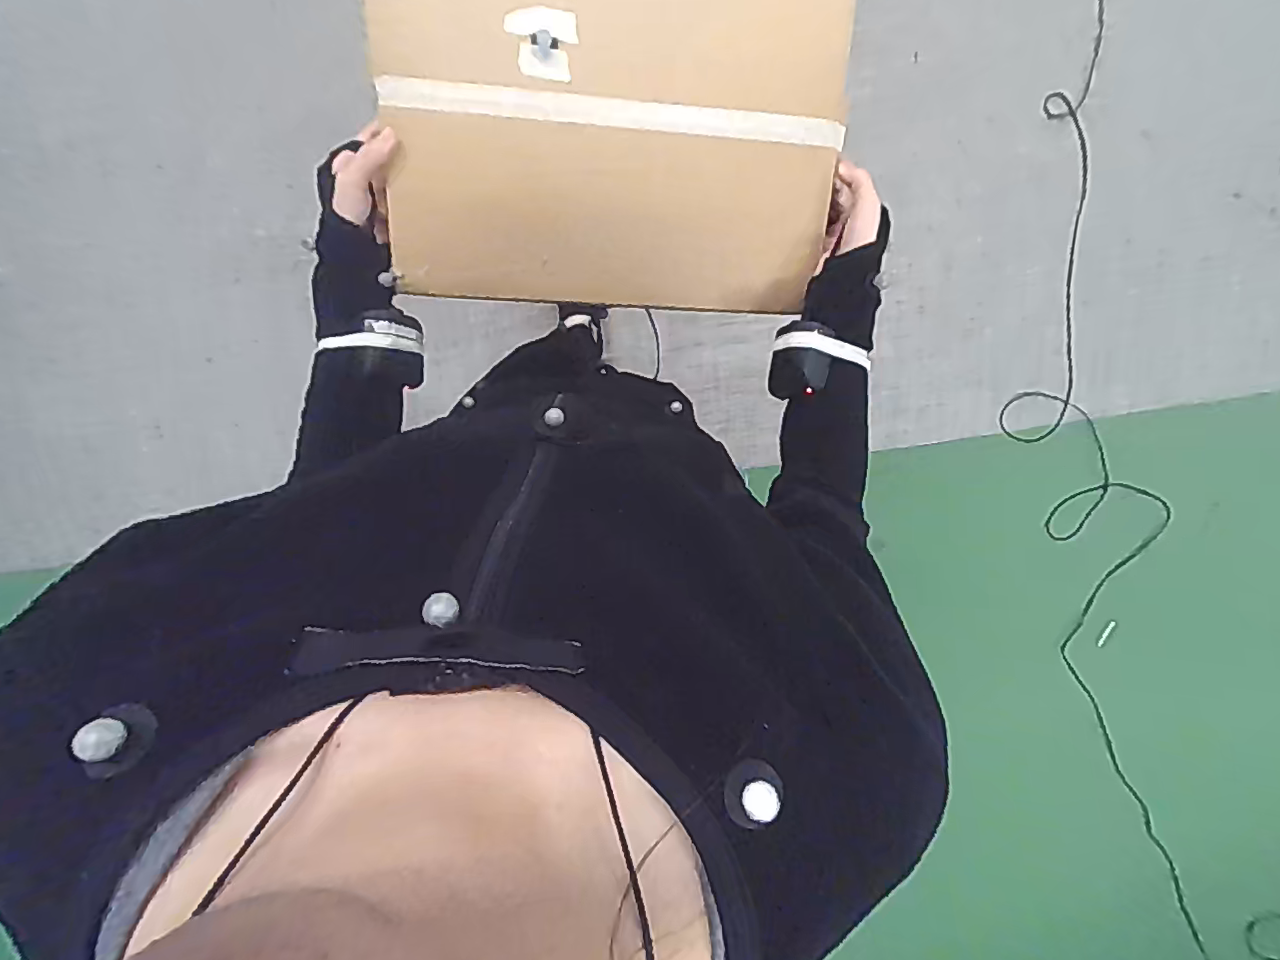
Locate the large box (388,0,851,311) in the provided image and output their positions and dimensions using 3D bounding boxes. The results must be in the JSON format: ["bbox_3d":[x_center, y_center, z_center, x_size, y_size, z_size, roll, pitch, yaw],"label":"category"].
[{"bbox_3d":[-0.031,-0.373,0.630,0.408,0.320,0.320,1,108,-8],"label":"large box"}]
